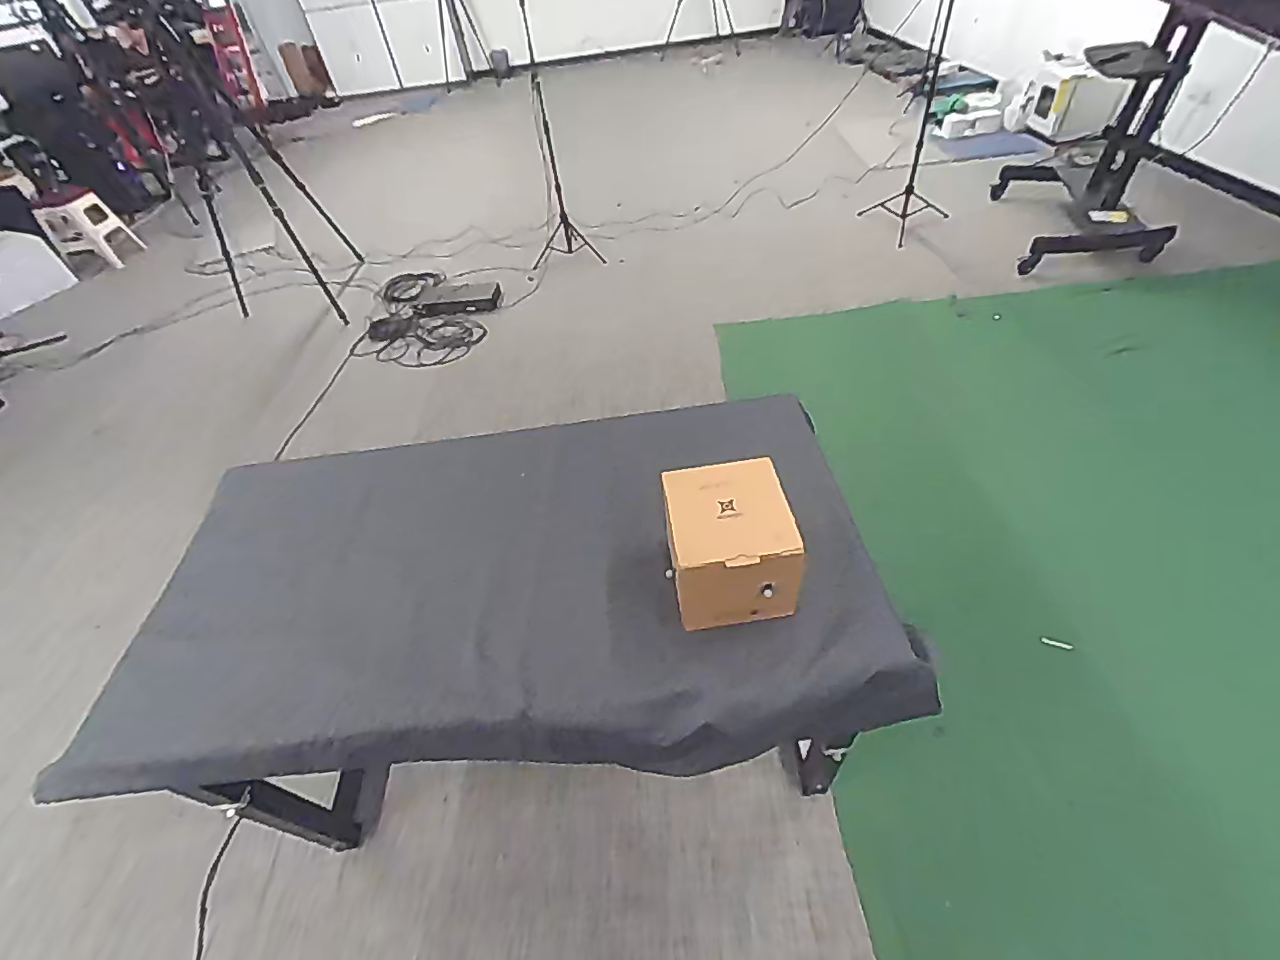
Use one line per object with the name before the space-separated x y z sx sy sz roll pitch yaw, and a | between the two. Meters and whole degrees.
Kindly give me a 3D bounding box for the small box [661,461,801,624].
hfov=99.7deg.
small box | 0.128 0.099 0.807 0.168 0.176 0.179 -8 45 -1
